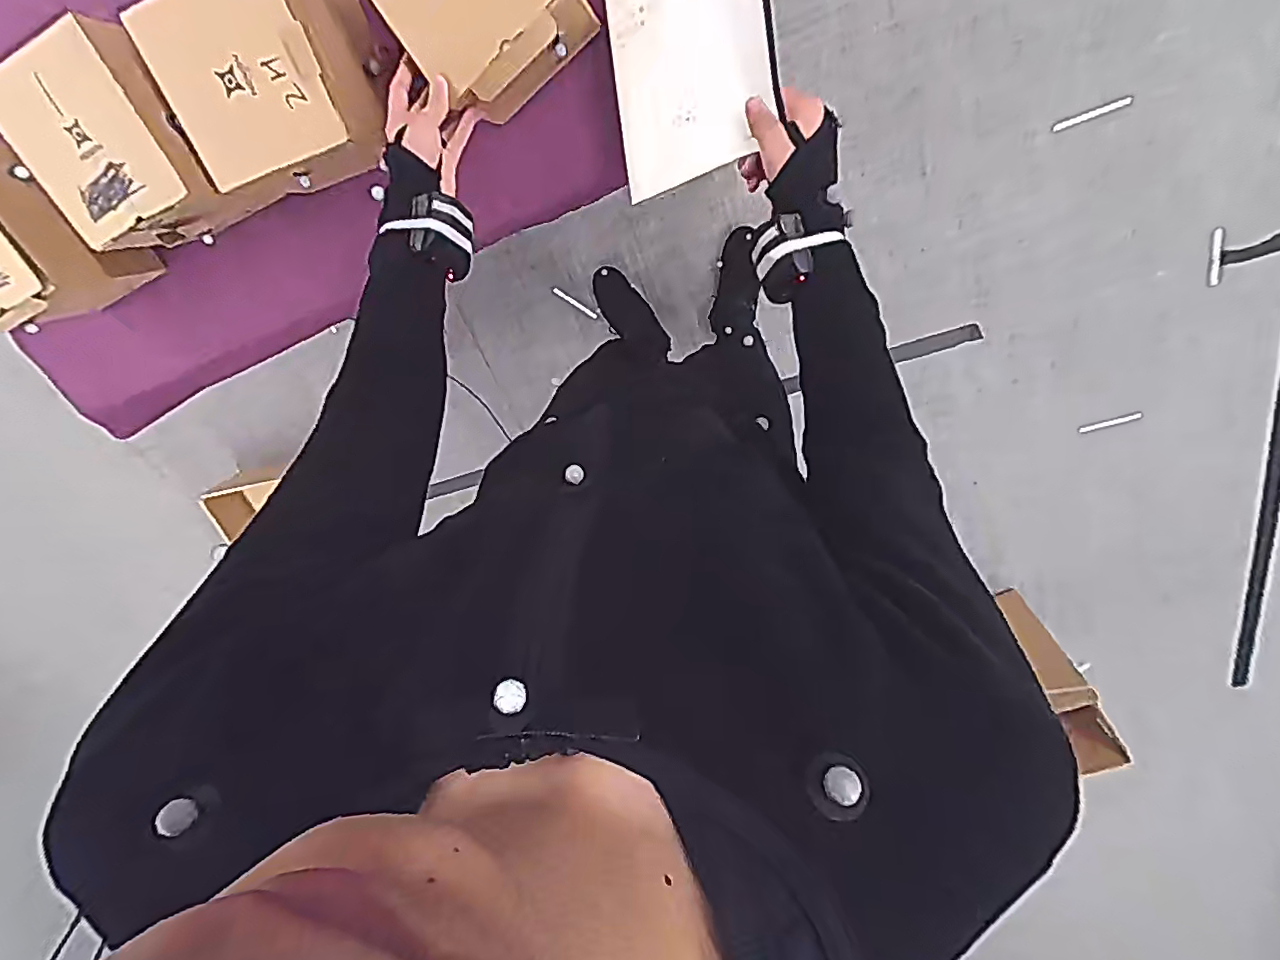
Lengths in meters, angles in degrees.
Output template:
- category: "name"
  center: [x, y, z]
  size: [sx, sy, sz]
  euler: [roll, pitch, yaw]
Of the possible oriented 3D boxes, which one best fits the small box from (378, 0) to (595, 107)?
- category: "small box"
  center: [-0.165, -0.518, 0.551]
  size: [0.168, 0.176, 0.179]
  euler: [-30, 111, 19]
